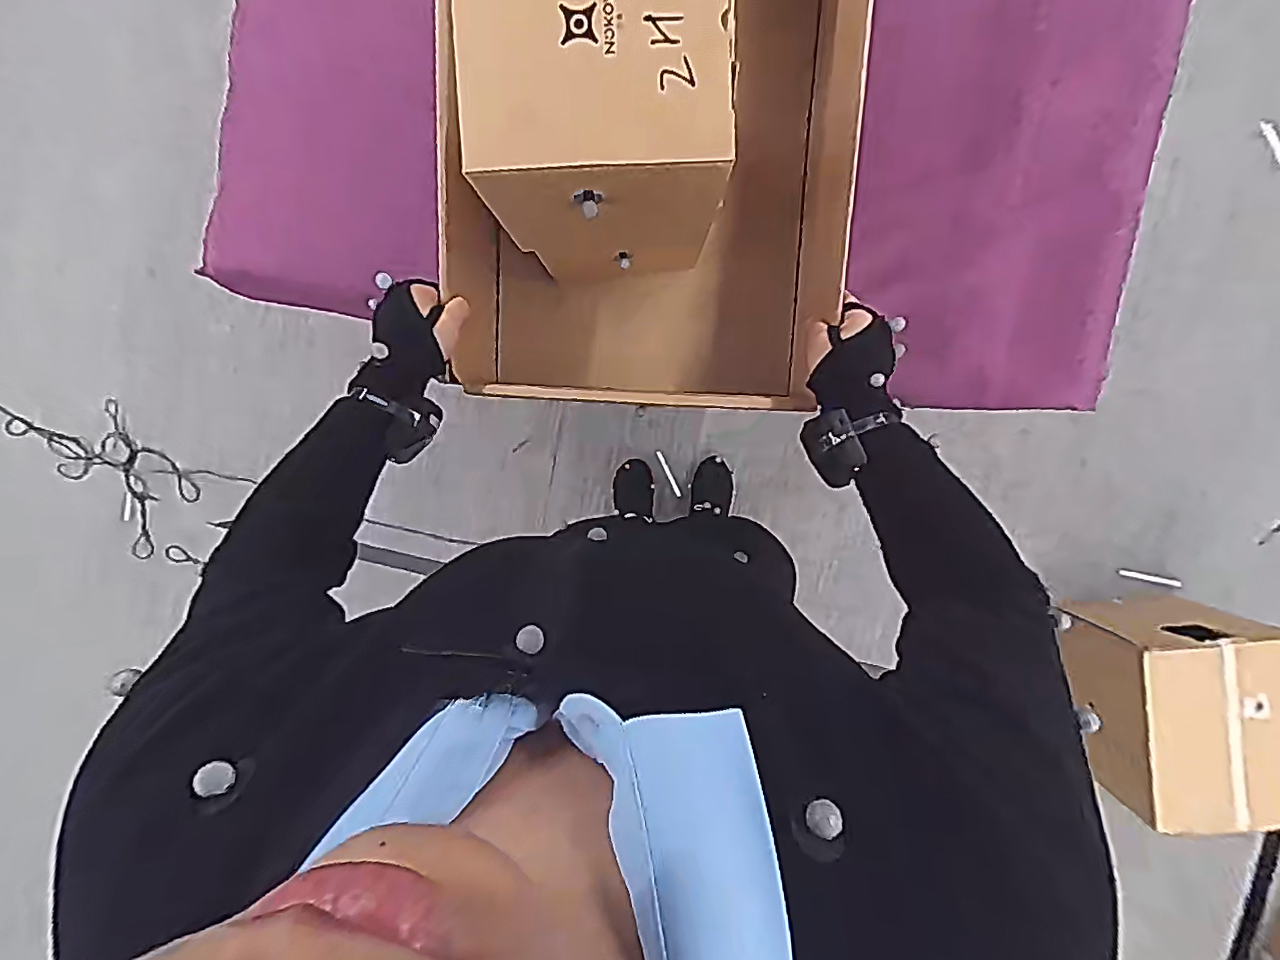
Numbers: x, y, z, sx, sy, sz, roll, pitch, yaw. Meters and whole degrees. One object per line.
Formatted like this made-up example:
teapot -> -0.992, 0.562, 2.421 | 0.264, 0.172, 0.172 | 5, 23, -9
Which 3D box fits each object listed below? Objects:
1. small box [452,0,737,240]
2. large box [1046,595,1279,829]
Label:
small box -> -0.027, -0.291, 0.406 | 0.179, 0.176, 0.168 | -1, 97, 0
large box -> 1.225, 0.516, 1.266 | 0.320, 0.320, 0.408 | -7, 92, 5
